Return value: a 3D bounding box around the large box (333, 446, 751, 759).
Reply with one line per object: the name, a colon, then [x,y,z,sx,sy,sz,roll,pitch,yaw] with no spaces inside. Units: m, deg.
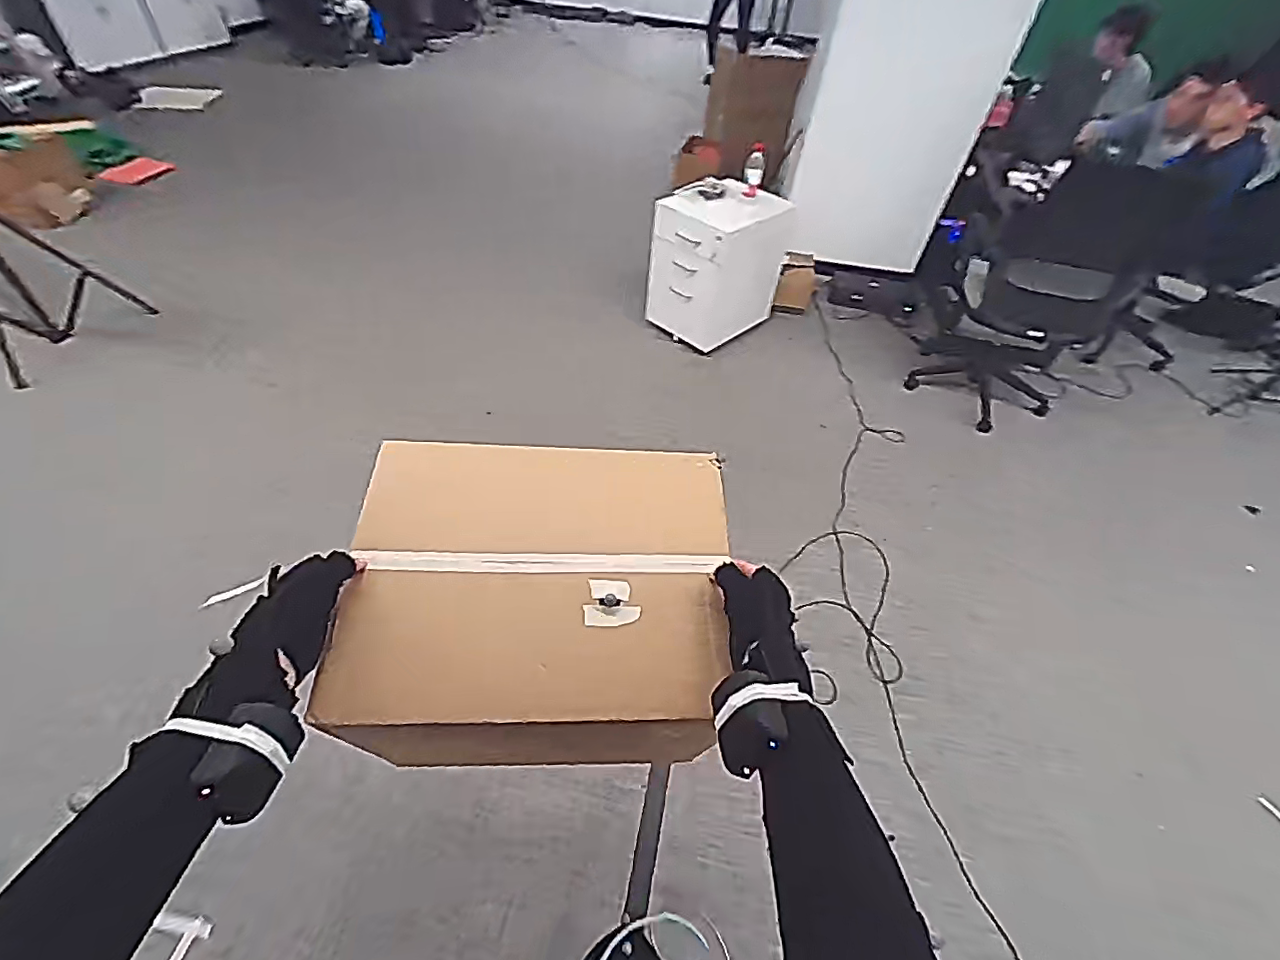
large box: [-0.109,0.174,0.717,0.408,0.320,0.320,3,56,-6]
